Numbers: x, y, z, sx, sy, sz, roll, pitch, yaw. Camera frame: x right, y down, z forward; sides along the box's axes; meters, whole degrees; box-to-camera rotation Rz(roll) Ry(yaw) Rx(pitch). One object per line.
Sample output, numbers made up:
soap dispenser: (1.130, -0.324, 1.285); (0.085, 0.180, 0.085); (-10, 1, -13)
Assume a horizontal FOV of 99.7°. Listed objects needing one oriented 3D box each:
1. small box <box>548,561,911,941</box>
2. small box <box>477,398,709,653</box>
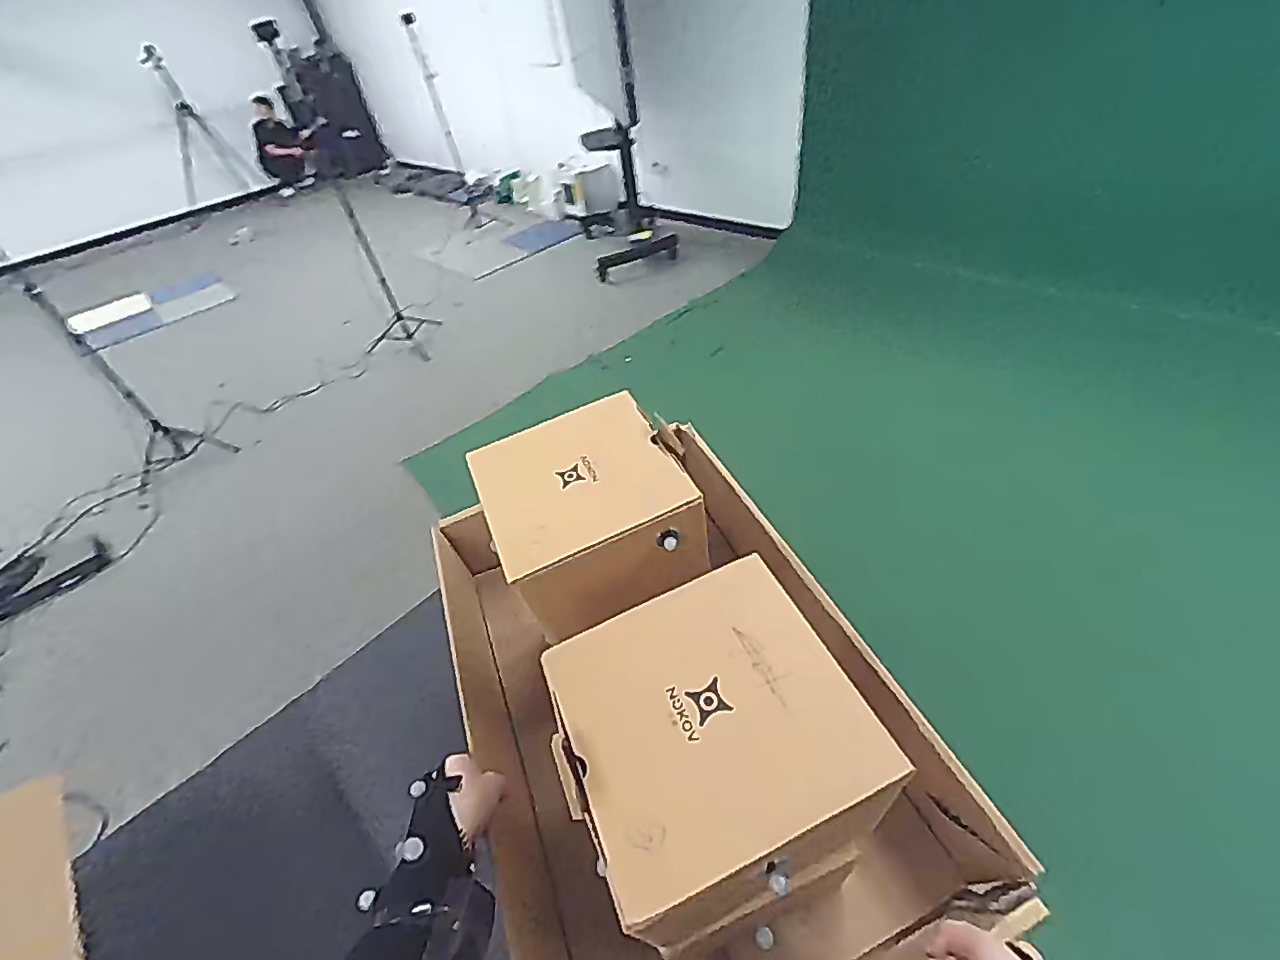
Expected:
small box: (0.056, 0.197, 0.393); (0.179, 0.176, 0.168); (-23, 48, -9)
small box: (-0.040, 0.053, 0.549); (0.179, 0.176, 0.168); (-23, 49, -10)
